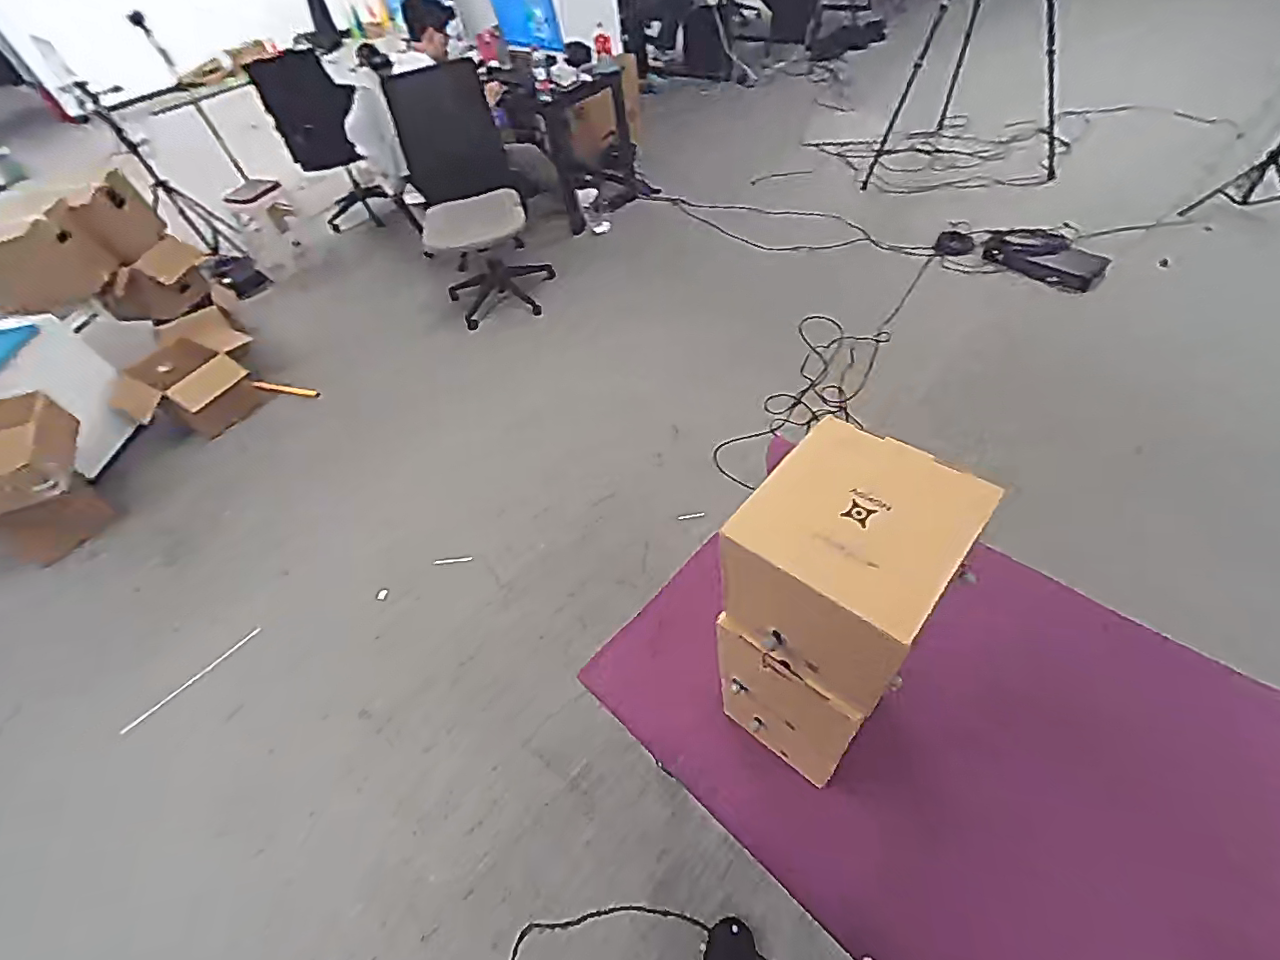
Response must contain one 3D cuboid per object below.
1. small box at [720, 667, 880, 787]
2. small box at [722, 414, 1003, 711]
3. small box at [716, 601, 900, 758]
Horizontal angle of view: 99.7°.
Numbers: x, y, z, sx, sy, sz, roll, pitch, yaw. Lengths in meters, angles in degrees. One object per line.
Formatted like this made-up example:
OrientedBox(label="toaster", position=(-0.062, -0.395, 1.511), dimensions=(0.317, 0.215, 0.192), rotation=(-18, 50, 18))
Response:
OrientedBox(label="small box", position=(0.231, 0.287, 0.753), dimensions=(0.168, 0.176, 0.179), rotation=(31, 61, 31))
OrientedBox(label="small box", position=(0.192, 0.076, 0.506), dimensions=(0.168, 0.176, 0.179), rotation=(31, 62, 32))
OrientedBox(label="small box", position=(0.208, 0.184, 0.628), dimensions=(0.168, 0.176, 0.179), rotation=(31, 61, 31))
